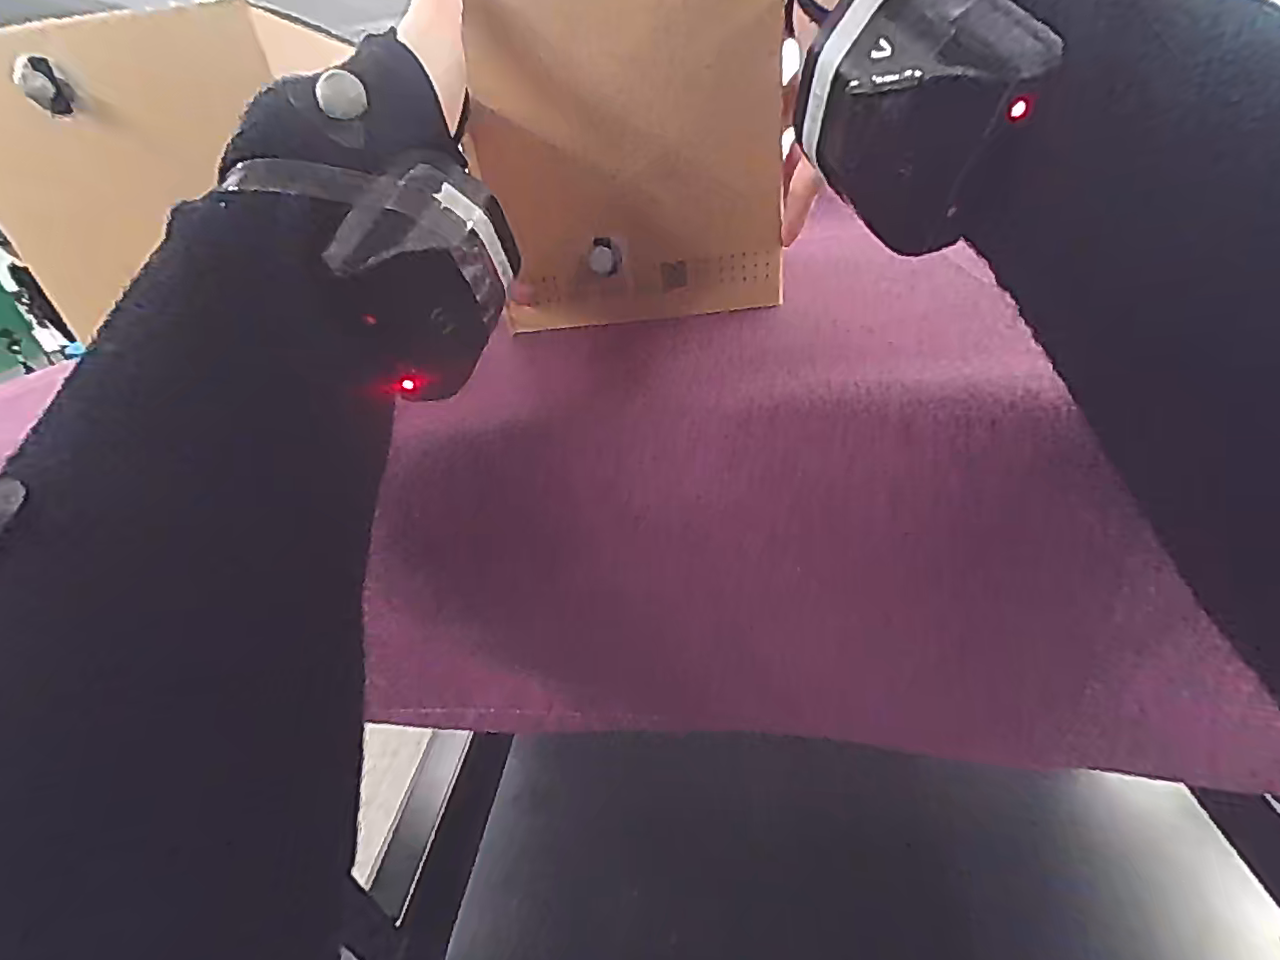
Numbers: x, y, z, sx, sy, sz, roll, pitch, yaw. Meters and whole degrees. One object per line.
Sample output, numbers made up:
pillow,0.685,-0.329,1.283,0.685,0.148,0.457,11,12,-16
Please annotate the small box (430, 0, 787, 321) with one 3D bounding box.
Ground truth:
small box,-0.005,-0.213,0.344,0.168,0.176,0.179,-5,34,7

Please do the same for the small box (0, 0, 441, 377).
small box,-0.248,-0.179,0.351,0.168,0.176,0.179,-8,31,1
